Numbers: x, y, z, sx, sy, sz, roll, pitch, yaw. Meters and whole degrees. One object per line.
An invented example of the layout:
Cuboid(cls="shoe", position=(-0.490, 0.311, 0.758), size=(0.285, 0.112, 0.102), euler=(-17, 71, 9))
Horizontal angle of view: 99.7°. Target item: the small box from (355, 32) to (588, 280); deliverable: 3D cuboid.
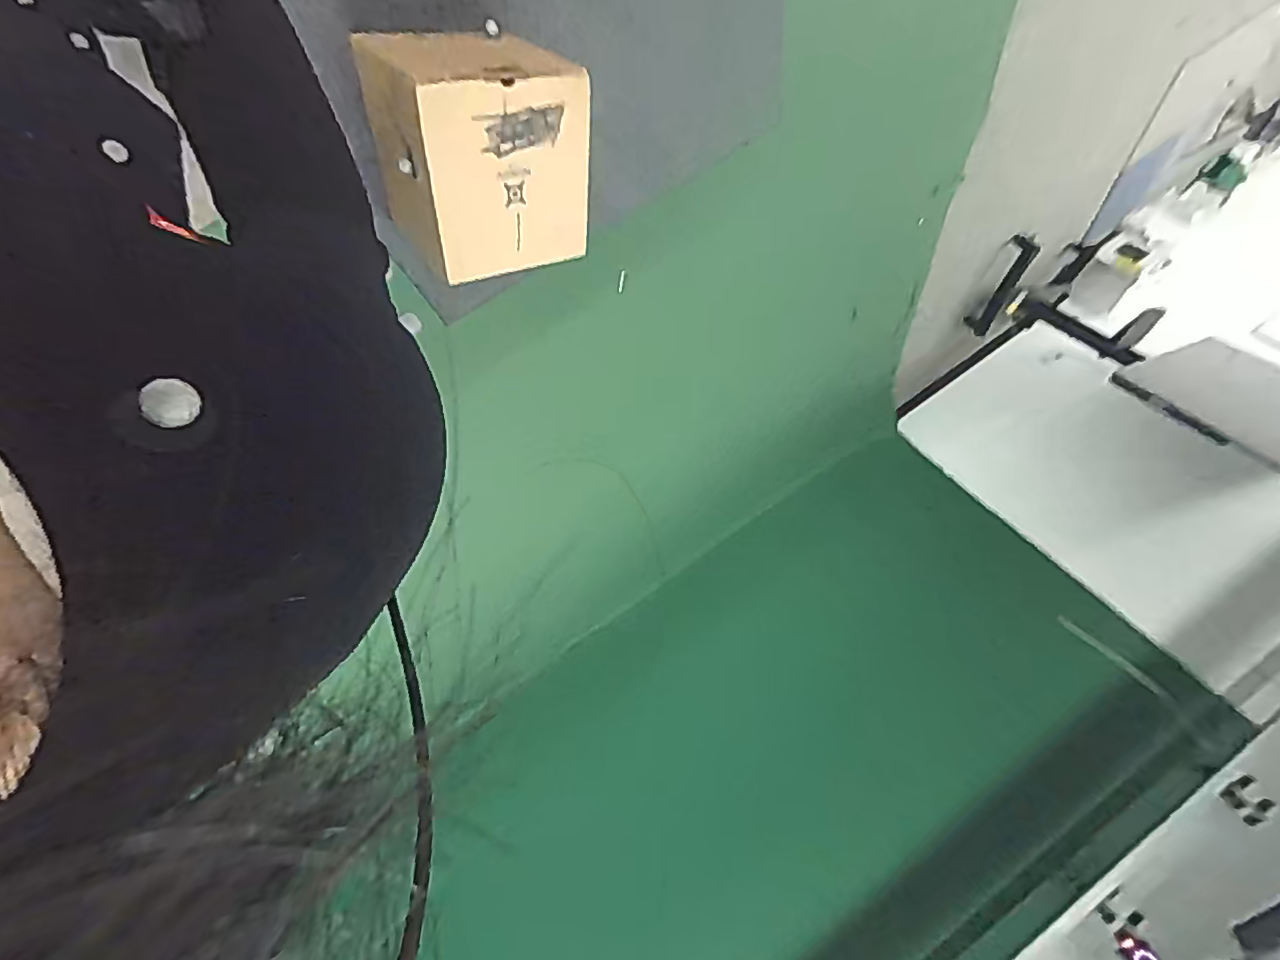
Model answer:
Cuboid(cls="small box", position=(-0.169, -0.339, 0.559), size=(0.168, 0.176, 0.179), euler=(-24, 146, -26))

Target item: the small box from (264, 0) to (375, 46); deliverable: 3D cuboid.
Cuboid(cls="small box", position=(-0.565, -0.865, 0.884), size=(0.179, 0.176, 0.168), euler=(-36, 150, -3))
